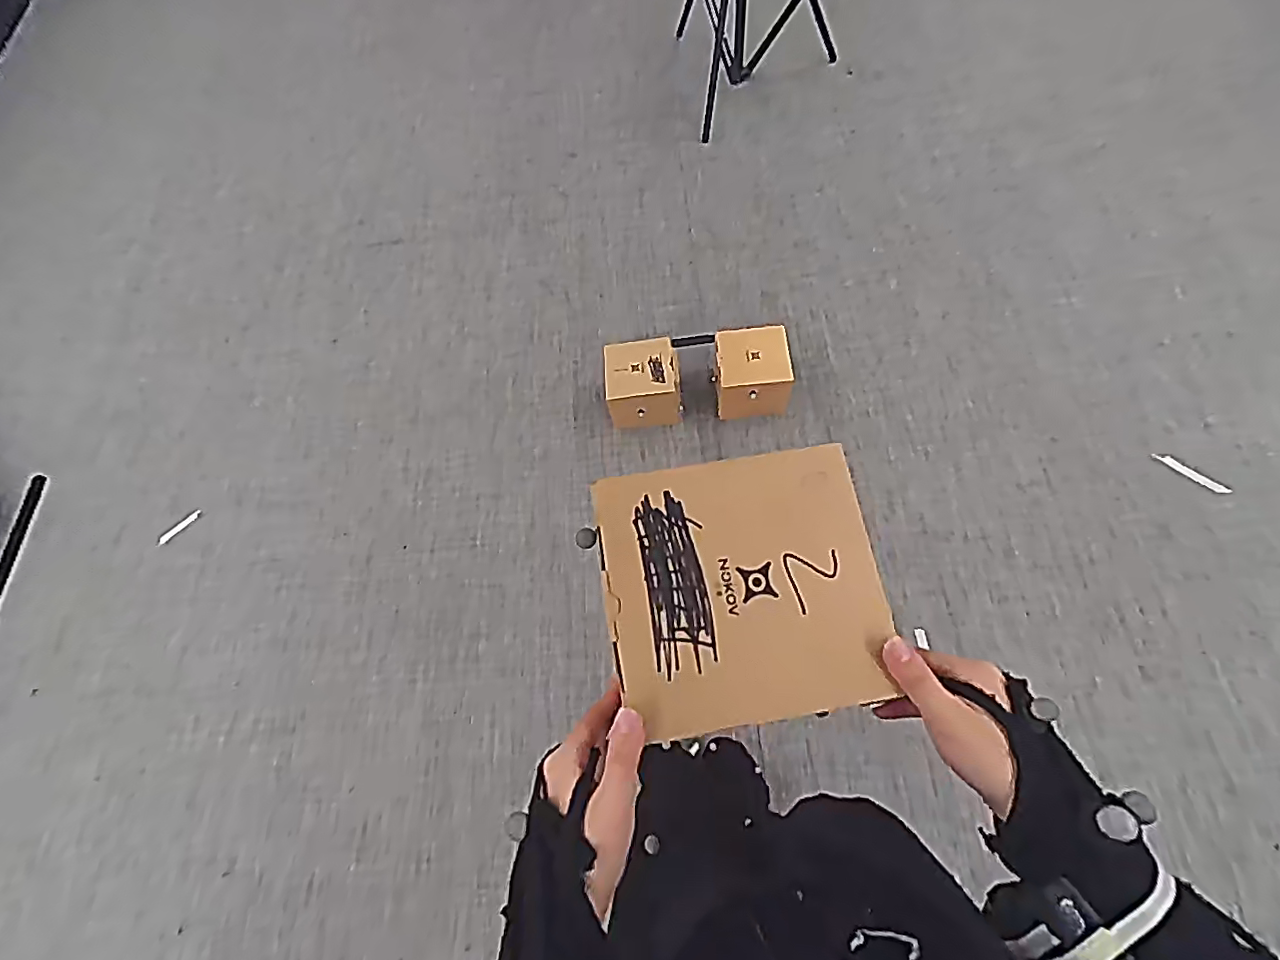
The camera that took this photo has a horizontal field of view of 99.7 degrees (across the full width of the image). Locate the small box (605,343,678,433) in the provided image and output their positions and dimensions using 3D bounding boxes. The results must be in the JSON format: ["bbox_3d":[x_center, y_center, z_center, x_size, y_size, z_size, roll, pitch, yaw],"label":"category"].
[{"bbox_3d":[0.009,-0.240,1.439,0.179,0.176,0.168,-6,67,6],"label":"small box"}]

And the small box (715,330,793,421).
[{"bbox_3d":[0.291,-0.268,1.416,0.179,0.176,0.168,-5,68,6],"label":"small box"}]
